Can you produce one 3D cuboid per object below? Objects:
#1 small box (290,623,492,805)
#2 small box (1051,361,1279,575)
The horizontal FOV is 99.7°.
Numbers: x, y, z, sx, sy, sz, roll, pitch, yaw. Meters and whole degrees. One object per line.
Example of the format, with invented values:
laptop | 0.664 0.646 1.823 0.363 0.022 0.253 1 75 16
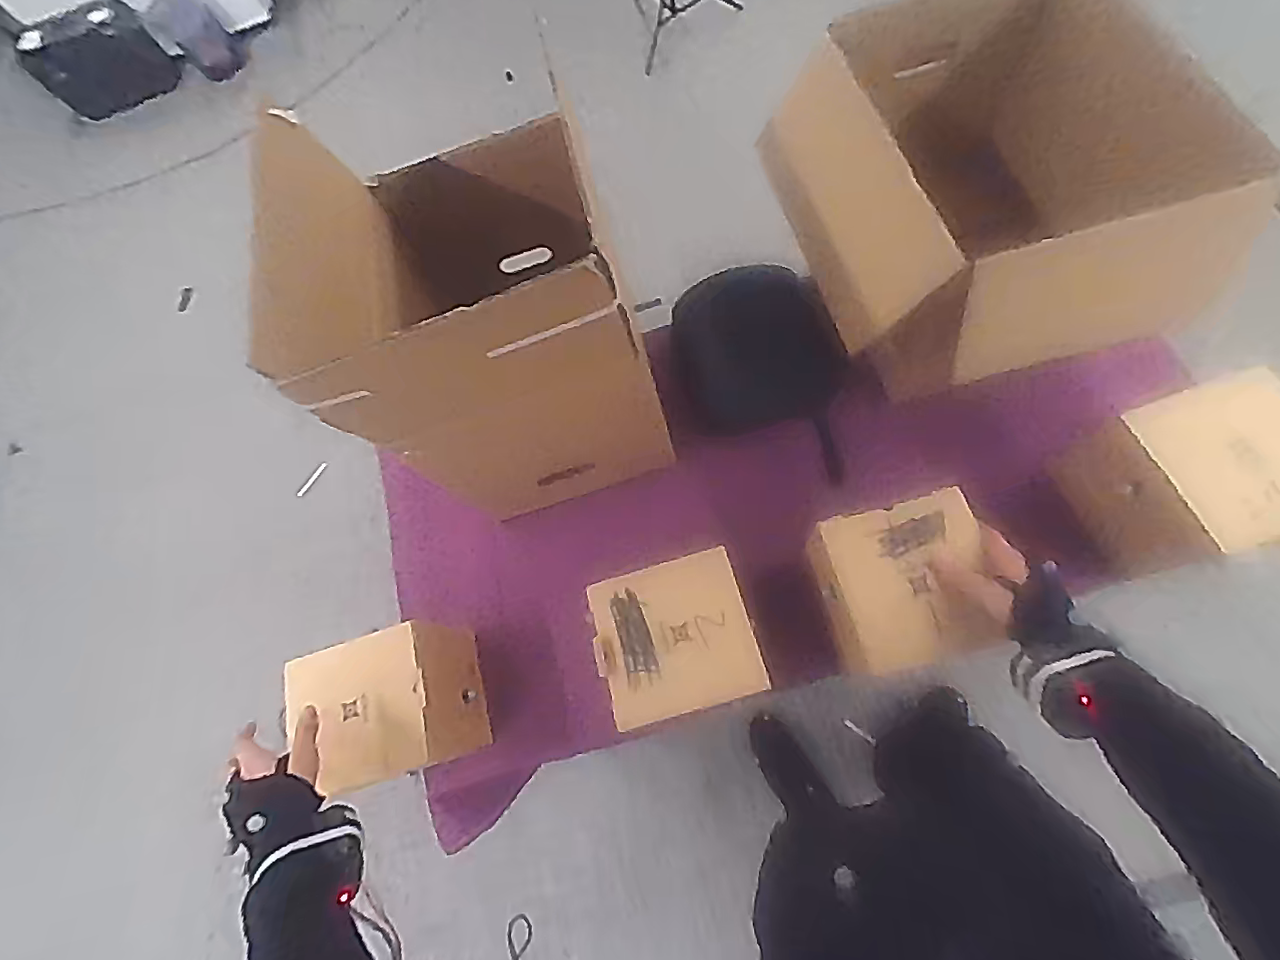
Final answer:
small box | -0.322 0.303 0.717 0.179 0.176 0.168 -19 68 2
small box | 0.651 -0.004 0.646 0.168 0.176 0.179 -21 68 4
